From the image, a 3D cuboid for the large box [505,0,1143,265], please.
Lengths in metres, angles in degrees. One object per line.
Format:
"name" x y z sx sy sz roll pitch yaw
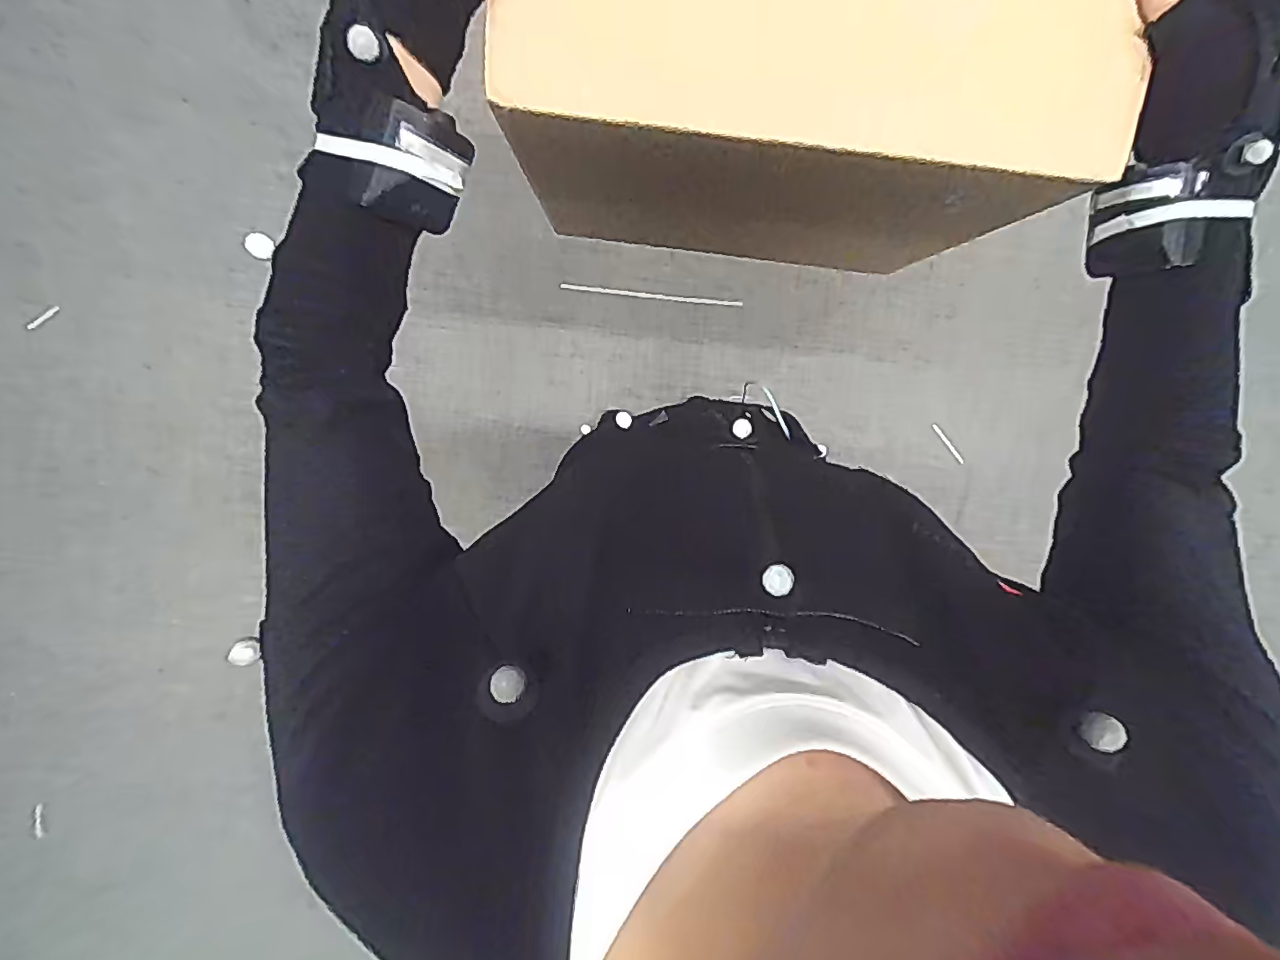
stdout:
"large box" 0.118 -0.394 0.470 0.408 0.320 0.320 5 101 -2
